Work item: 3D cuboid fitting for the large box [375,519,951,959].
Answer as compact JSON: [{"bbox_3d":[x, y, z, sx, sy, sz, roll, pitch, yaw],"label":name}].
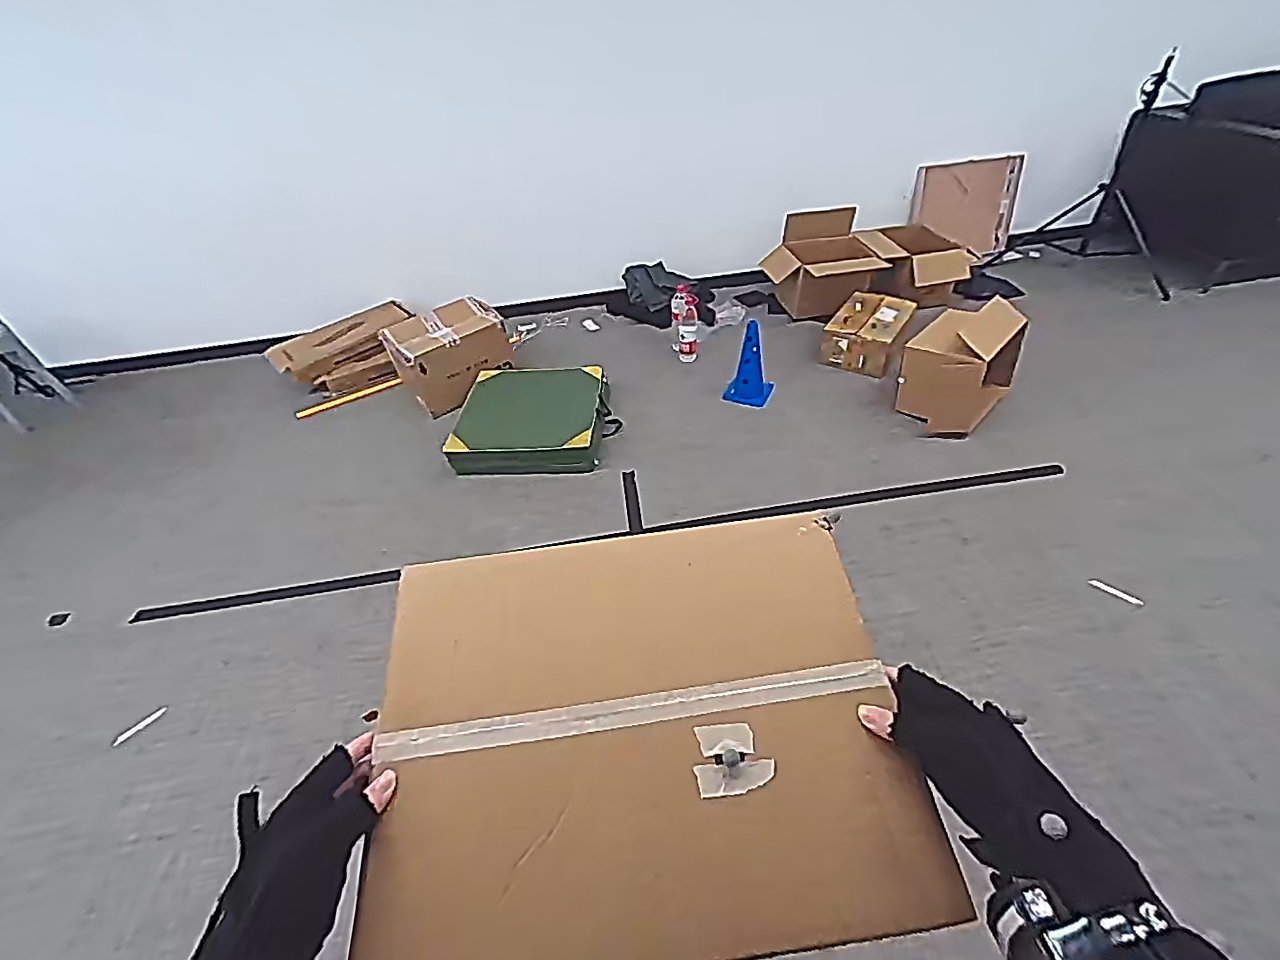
[{"bbox_3d":[0.005,0.276,0.567,0.408,0.320,0.320,-8,55,-2],"label":"large box"}]
